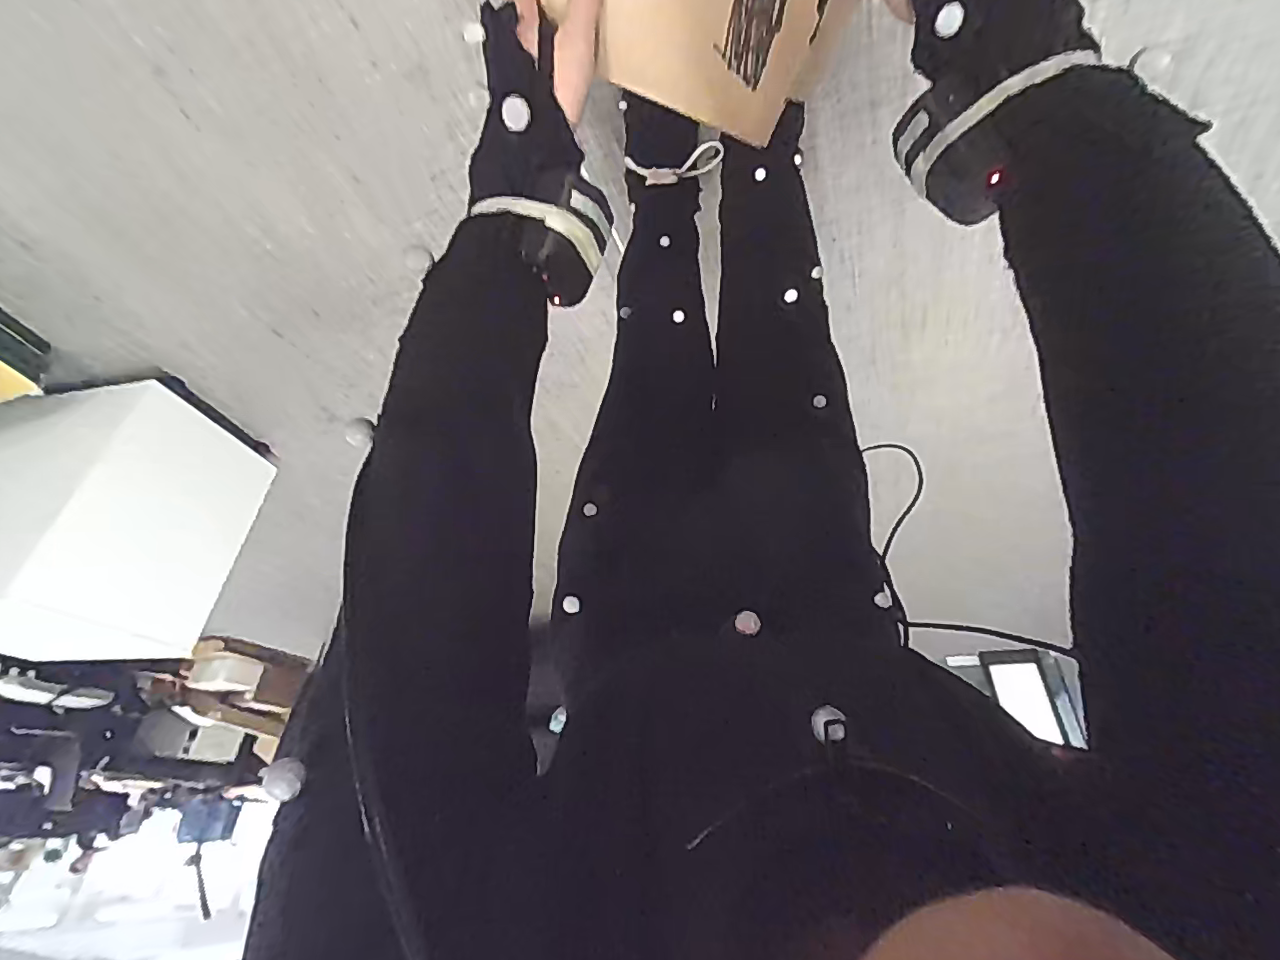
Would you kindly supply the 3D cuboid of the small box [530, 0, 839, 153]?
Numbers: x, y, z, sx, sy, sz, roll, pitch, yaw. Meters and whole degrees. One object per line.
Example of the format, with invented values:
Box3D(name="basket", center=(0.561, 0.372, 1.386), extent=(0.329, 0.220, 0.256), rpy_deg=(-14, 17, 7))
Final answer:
Box3D(name="small box", center=(0.043, -0.366, 0.364), extent=(0.179, 0.176, 0.168), rpy_deg=(18, 139, -10))
